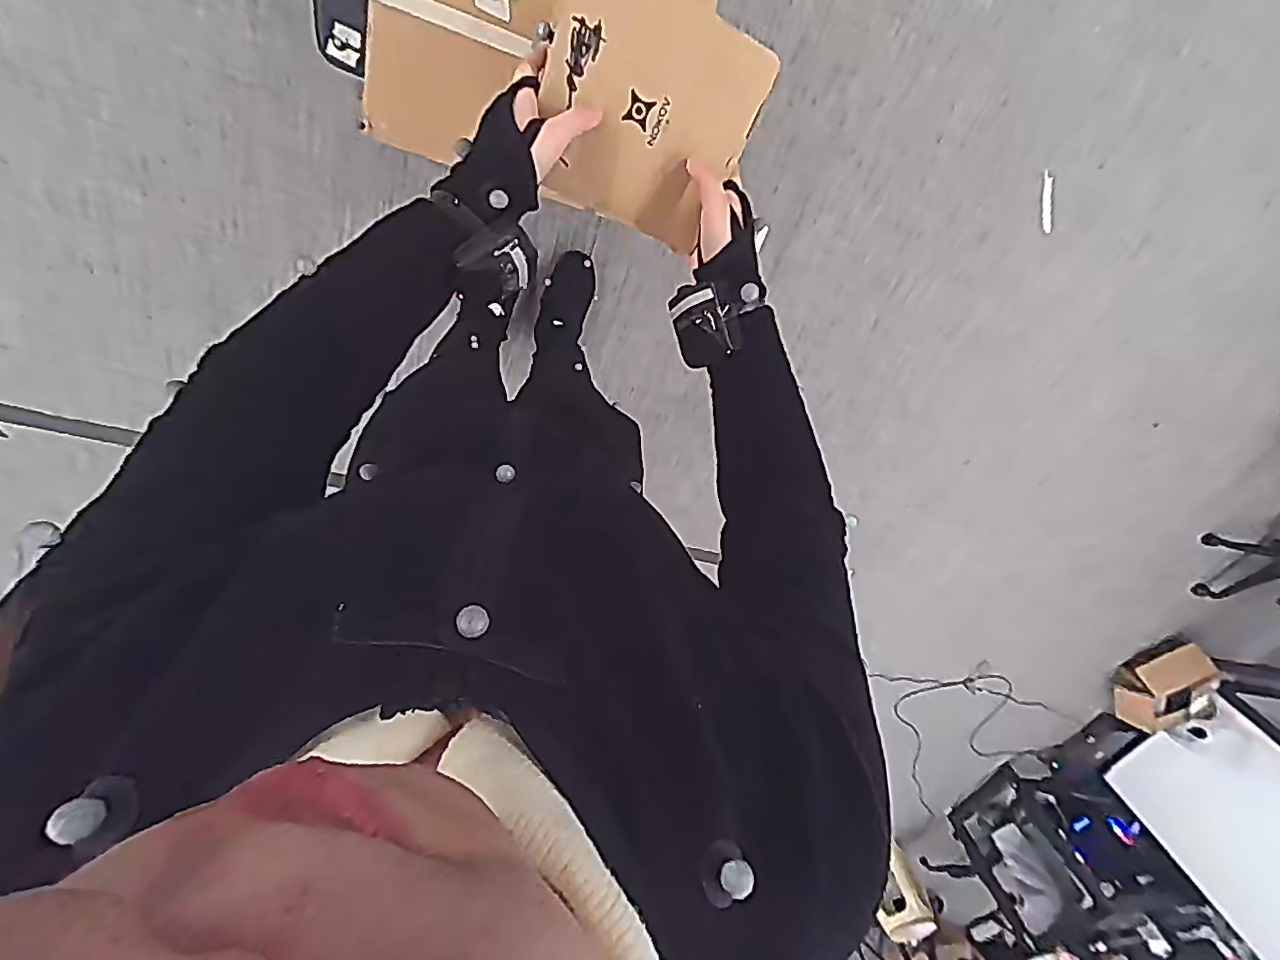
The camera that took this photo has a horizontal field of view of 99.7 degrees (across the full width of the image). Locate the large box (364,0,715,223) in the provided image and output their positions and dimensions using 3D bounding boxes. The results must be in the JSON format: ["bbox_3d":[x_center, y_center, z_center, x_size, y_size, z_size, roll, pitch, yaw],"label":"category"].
[{"bbox_3d":[-0.146,-0.623,0.805,0.408,0.320,0.320,11,120,-16],"label":"large box"}]

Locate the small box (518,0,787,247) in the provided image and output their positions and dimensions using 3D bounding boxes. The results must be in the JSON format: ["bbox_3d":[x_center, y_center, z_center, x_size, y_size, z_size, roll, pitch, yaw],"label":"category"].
[{"bbox_3d":[-0.005,-0.348,0.502,0.179,0.176,0.168,16,120,-23],"label":"small box"}]
